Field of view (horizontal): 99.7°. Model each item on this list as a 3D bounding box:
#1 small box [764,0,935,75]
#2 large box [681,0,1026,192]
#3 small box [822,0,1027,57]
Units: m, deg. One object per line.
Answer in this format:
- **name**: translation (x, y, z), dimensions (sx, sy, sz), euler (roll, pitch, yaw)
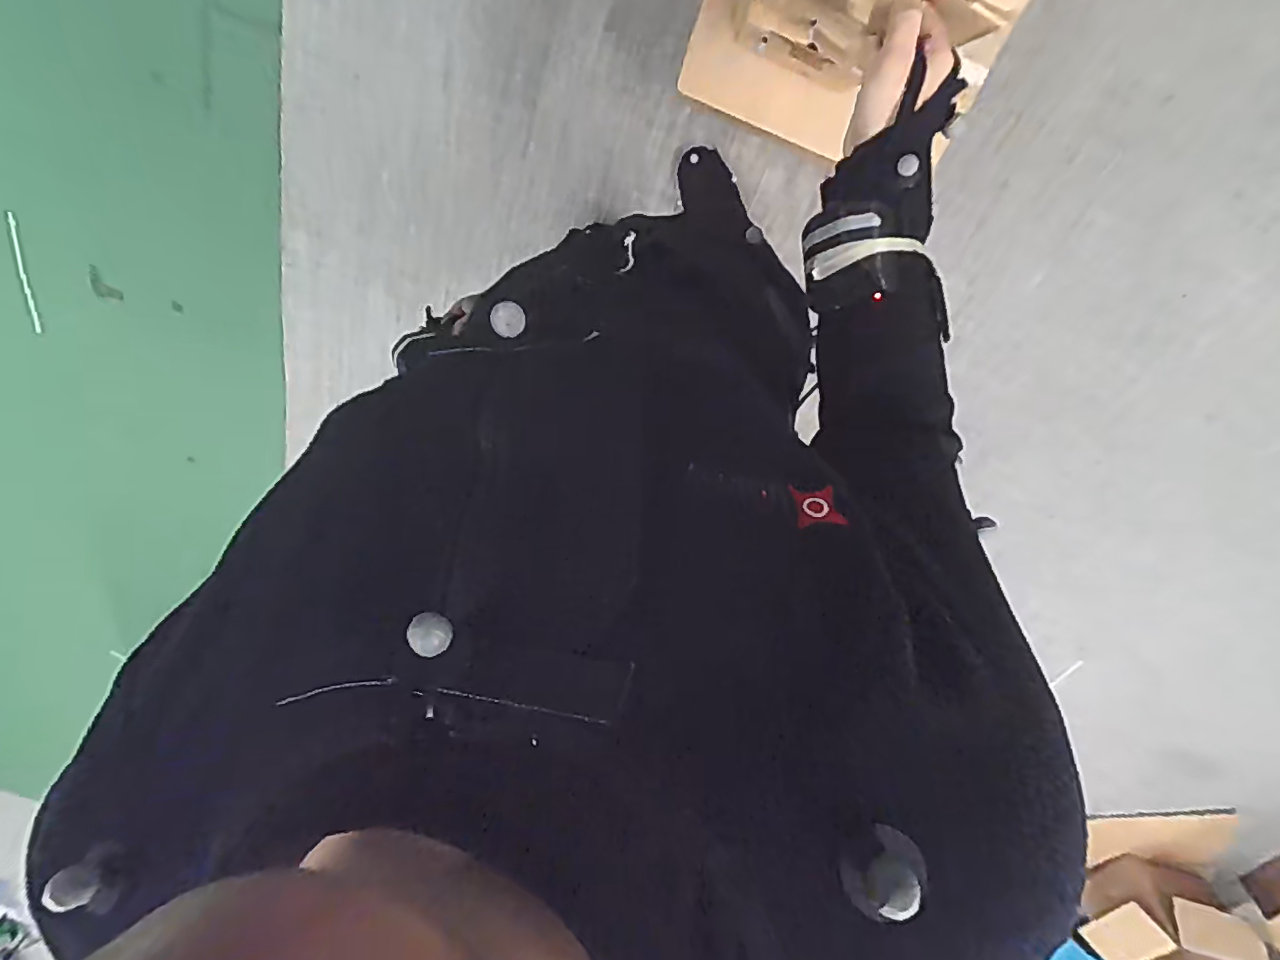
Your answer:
- **small box**: translation (0.228, -0.515, 0.496), dimensions (0.168, 0.176, 0.179), euler (24, 121, -9)
- **large box**: translation (0.301, -0.701, 0.854), dimensions (0.408, 0.320, 0.320), euler (19, 123, -7)
- **small box**: translation (0.204, -0.426, 0.361), dimensions (0.168, 0.176, 0.179), euler (22, 120, -10)
